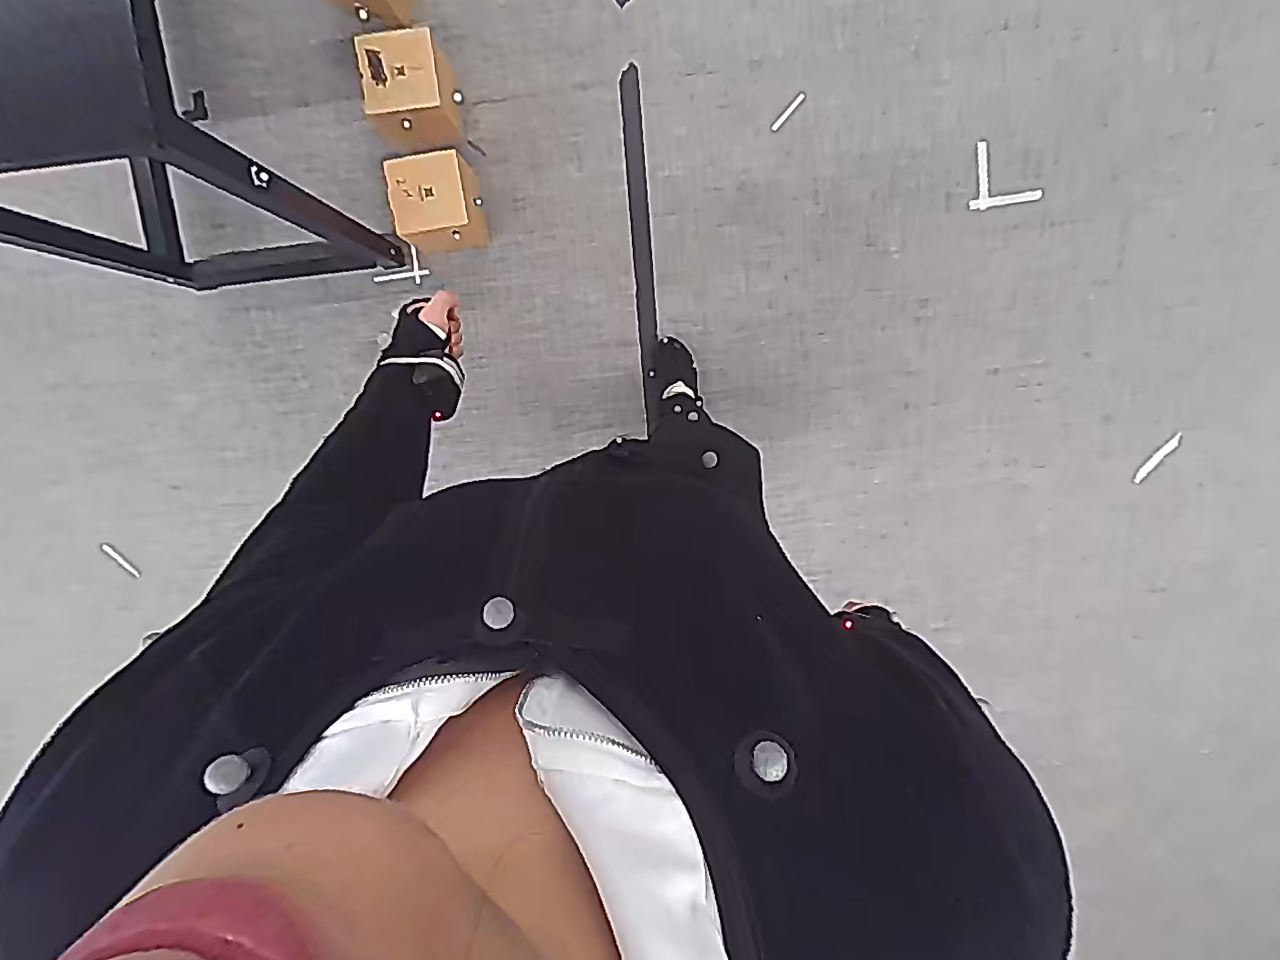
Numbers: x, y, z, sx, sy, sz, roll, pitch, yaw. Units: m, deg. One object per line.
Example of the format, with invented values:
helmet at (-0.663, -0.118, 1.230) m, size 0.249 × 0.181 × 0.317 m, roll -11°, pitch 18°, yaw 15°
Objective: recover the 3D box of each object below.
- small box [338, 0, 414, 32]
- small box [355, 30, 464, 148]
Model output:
small box at (-0.637, -1.208, 1.258) m, size 0.168 × 0.176 × 0.179 m, roll 16°, pitch 100°, yaw 1°
small box at (-0.544, -0.924, 1.295) m, size 0.179 × 0.176 × 0.168 m, roll -6°, pitch 98°, yaw 2°
